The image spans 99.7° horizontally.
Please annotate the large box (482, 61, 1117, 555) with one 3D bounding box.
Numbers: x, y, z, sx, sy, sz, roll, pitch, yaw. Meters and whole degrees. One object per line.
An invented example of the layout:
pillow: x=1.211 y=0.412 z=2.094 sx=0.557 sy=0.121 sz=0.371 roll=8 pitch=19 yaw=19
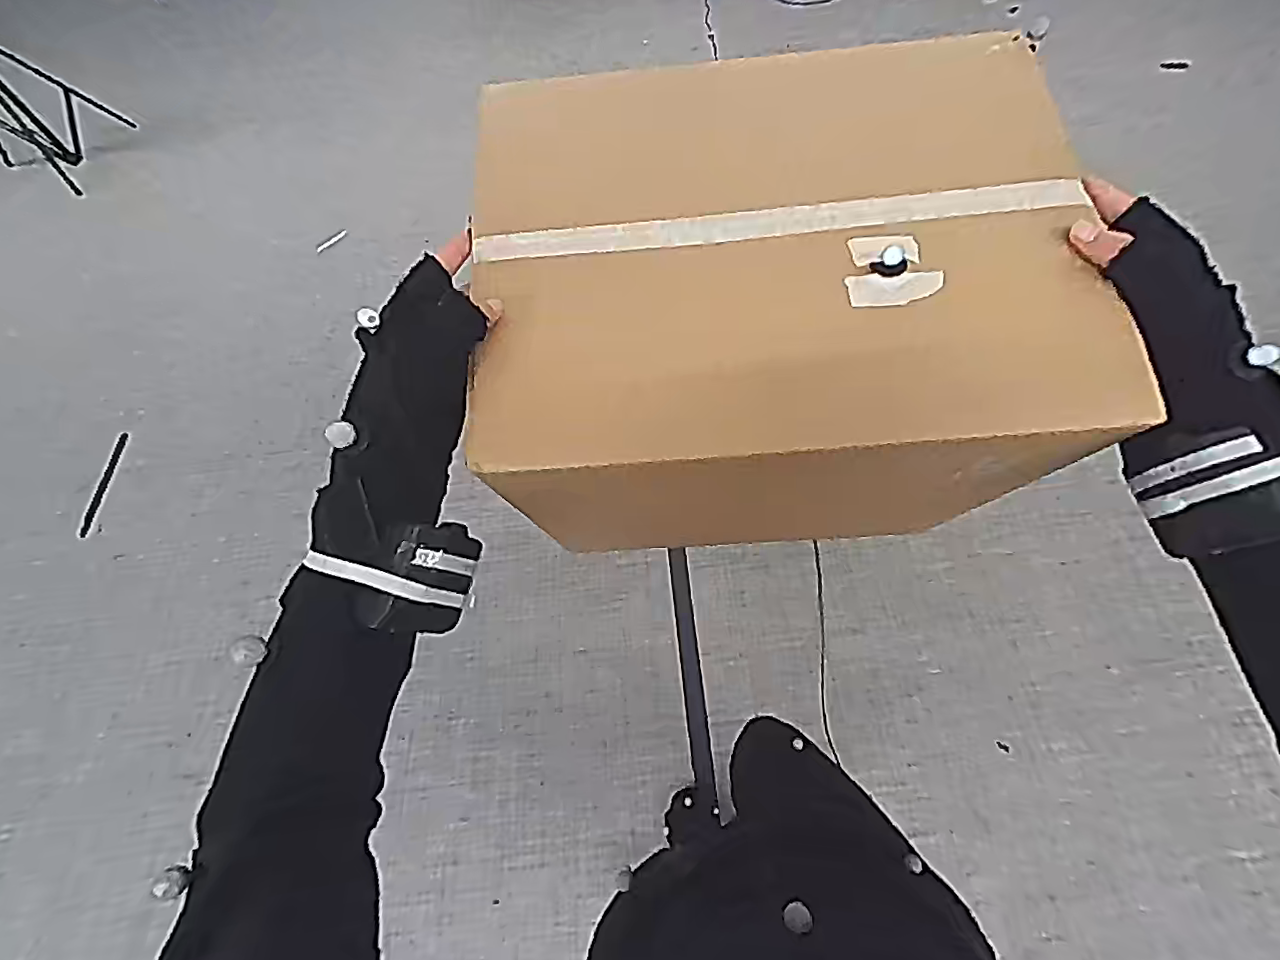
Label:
large box: x=0.093 y=-0.120 z=0.523 sx=0.408 sy=0.320 sz=0.320 roll=-4 pitch=73 yaw=2
